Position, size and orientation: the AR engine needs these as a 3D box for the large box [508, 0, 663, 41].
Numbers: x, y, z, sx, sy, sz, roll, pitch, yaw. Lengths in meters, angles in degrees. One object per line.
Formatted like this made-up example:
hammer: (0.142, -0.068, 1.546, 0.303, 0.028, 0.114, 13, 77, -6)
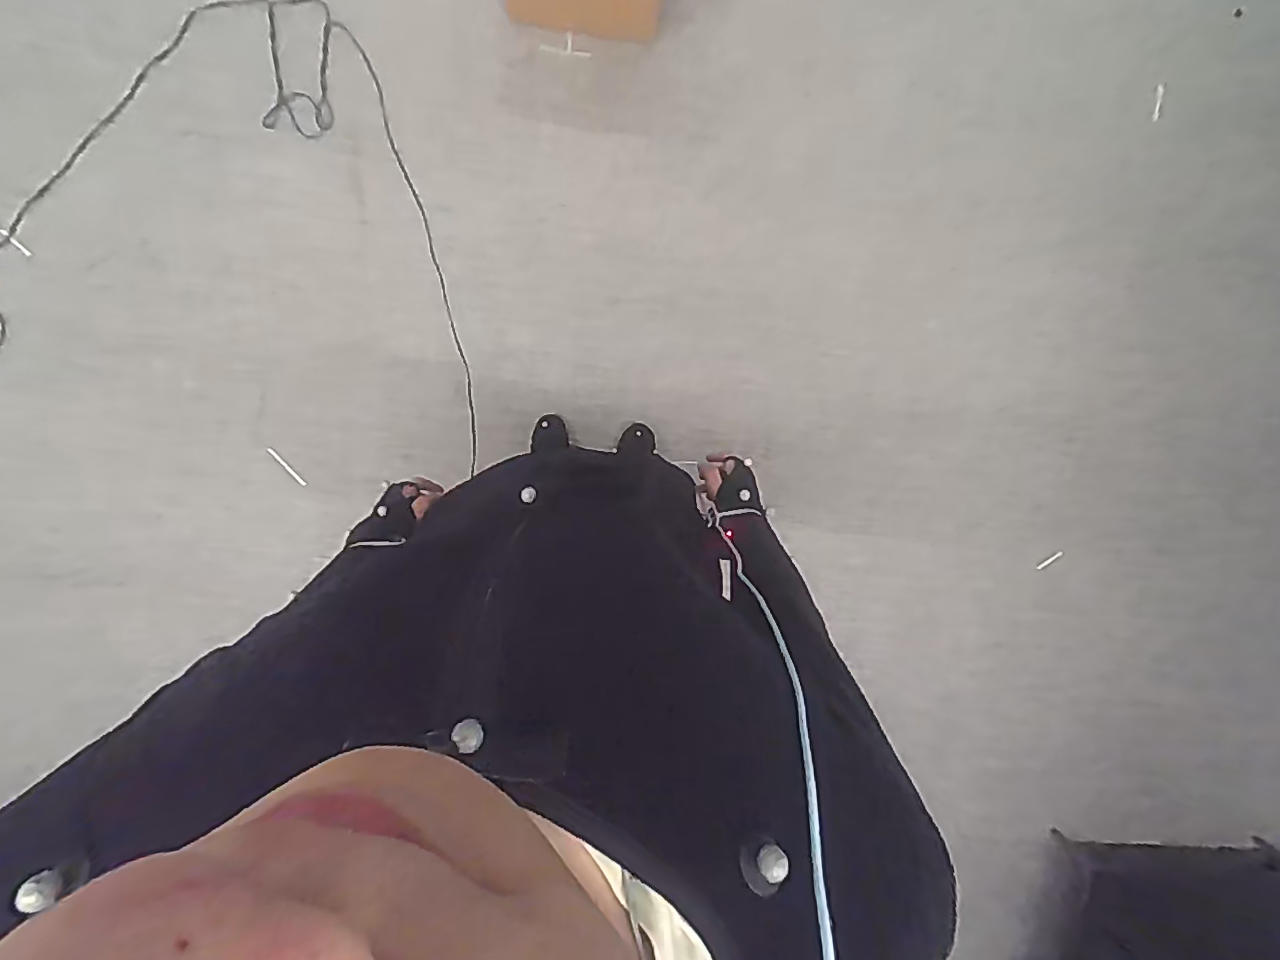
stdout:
large box: (-0.130, -1.361, 1.325, 0.408, 0.320, 0.320, 4, 97, -5)
